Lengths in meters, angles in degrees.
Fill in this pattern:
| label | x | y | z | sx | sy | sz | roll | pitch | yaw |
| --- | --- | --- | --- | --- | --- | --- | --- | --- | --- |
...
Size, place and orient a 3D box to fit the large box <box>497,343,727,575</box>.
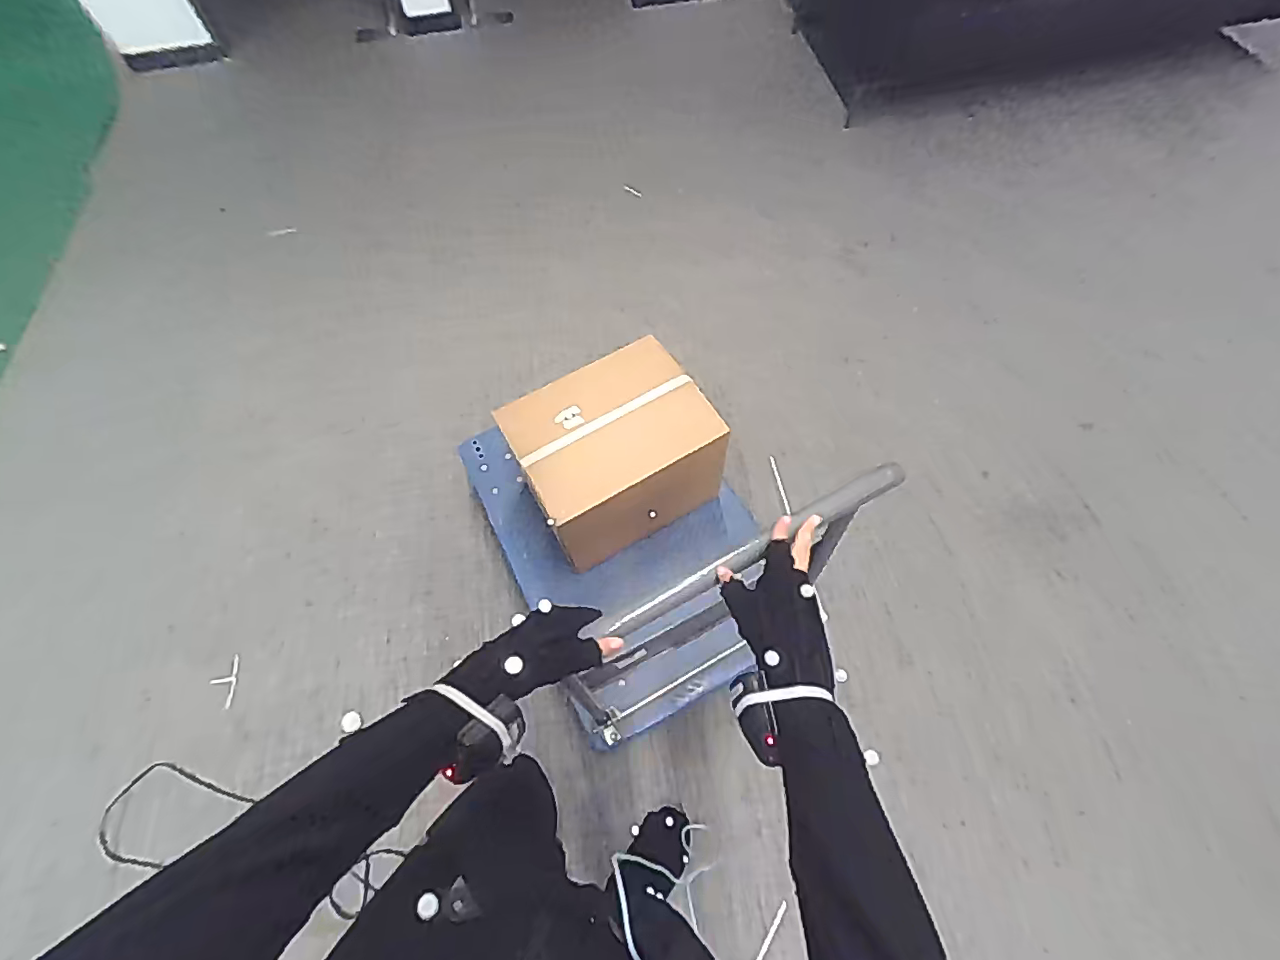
| label | x | y | z | sx | sy | sz | roll | pitch | yaw |
| --- | --- | --- | --- | --- | --- | --- | --- | --- | --- |
| large box | -0.054 | -0.040 | 1.266 | 0.408 | 0.320 | 0.320 | -29 | 64 | -11 |
